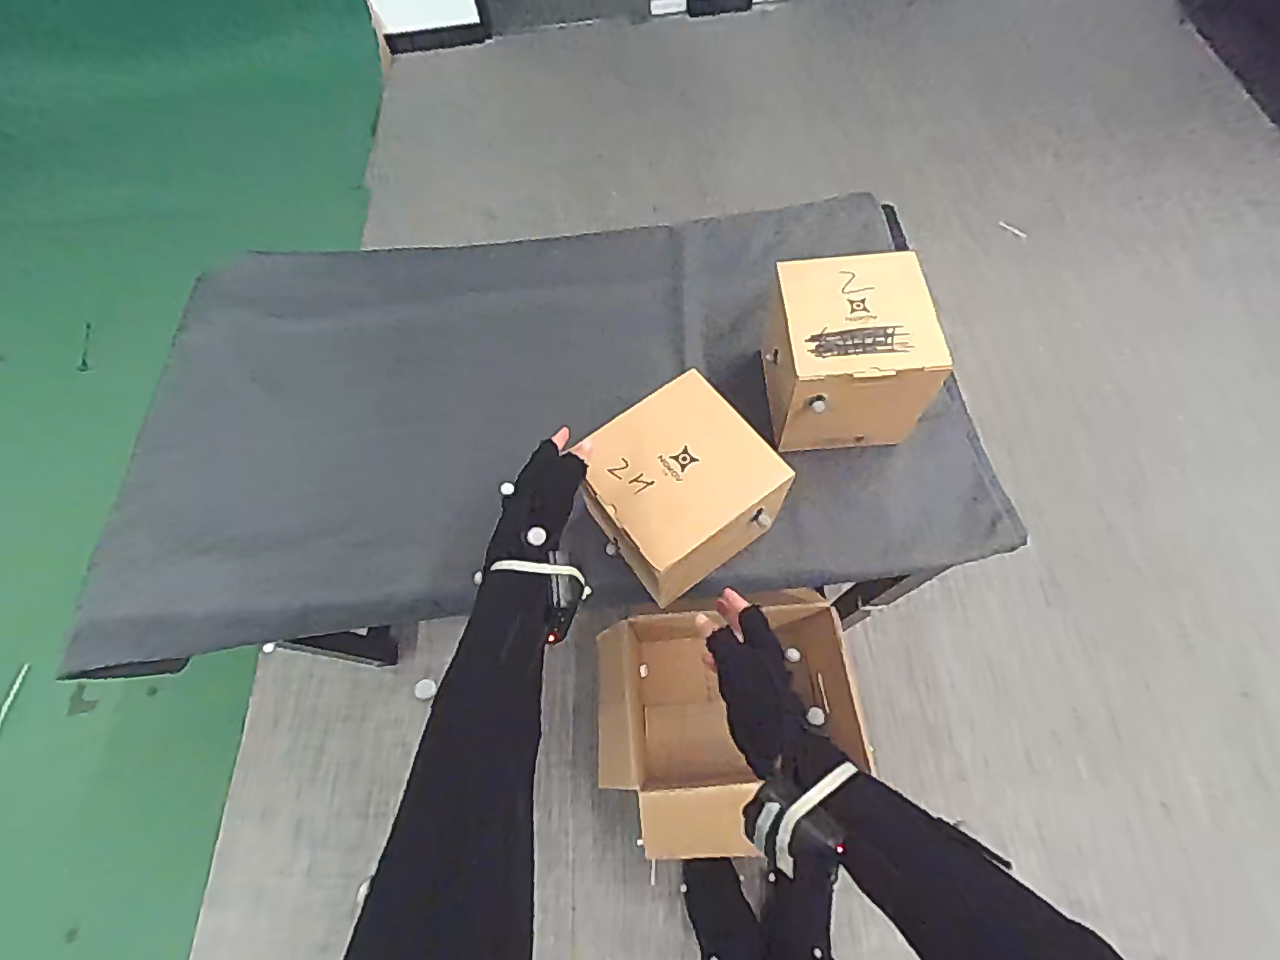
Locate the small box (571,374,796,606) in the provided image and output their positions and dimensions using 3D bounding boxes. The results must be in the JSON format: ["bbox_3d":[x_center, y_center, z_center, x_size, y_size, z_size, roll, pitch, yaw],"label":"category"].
[{"bbox_3d":[0.047,0.019,0.624,0.179,0.176,0.168,-35,67,-10],"label":"small box"}]
